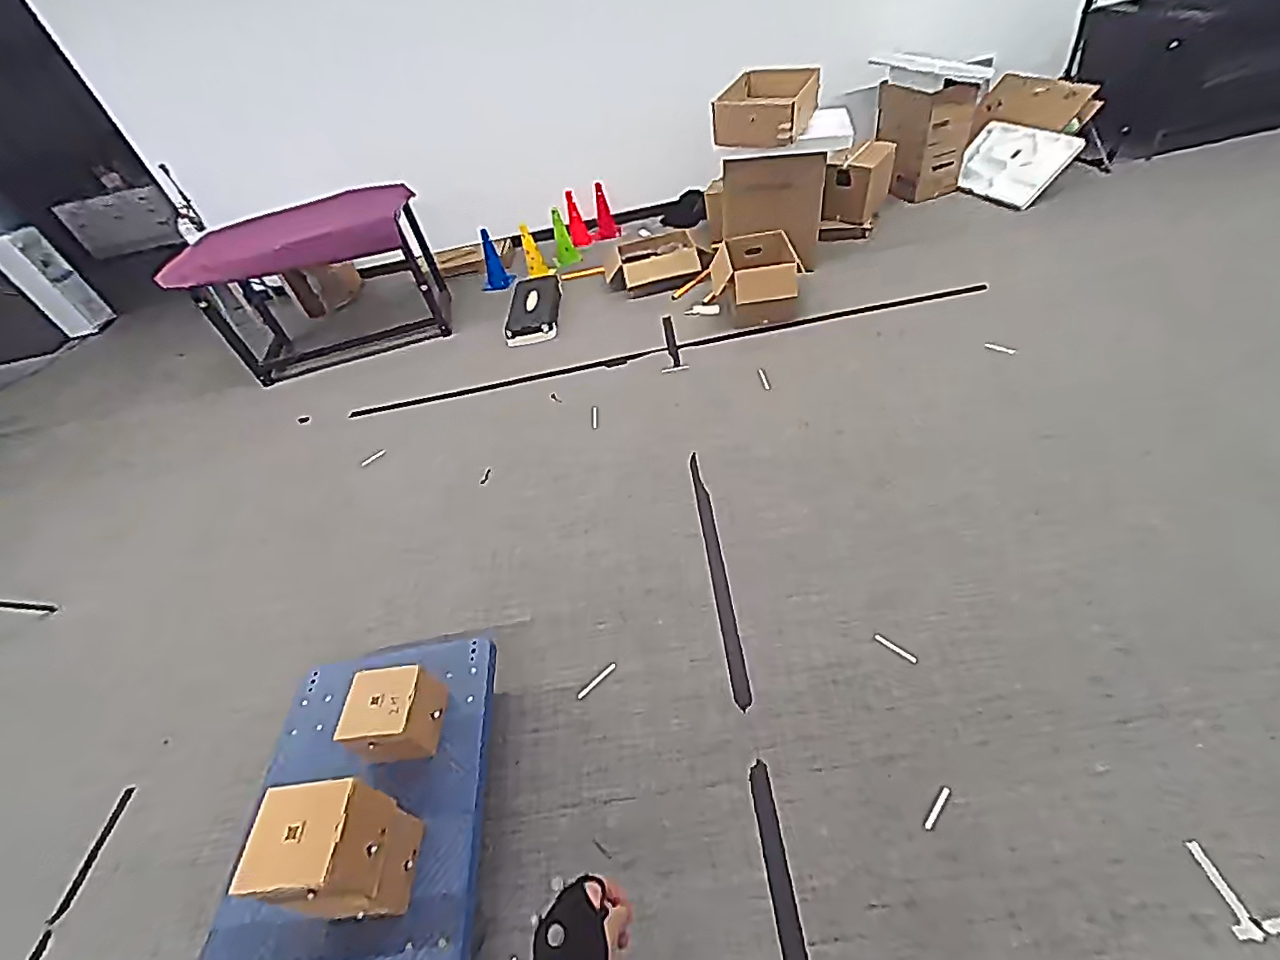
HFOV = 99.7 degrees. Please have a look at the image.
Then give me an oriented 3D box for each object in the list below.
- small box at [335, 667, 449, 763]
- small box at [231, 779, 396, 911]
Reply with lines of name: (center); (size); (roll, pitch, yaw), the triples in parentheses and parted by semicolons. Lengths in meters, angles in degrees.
small box: (-0.607, 0.588, 1.345); (0.179, 0.176, 0.168); (-8, 45, 5)
small box: (-0.594, 0.685, 1.011); (0.179, 0.176, 0.168); (-9, 44, 3)
